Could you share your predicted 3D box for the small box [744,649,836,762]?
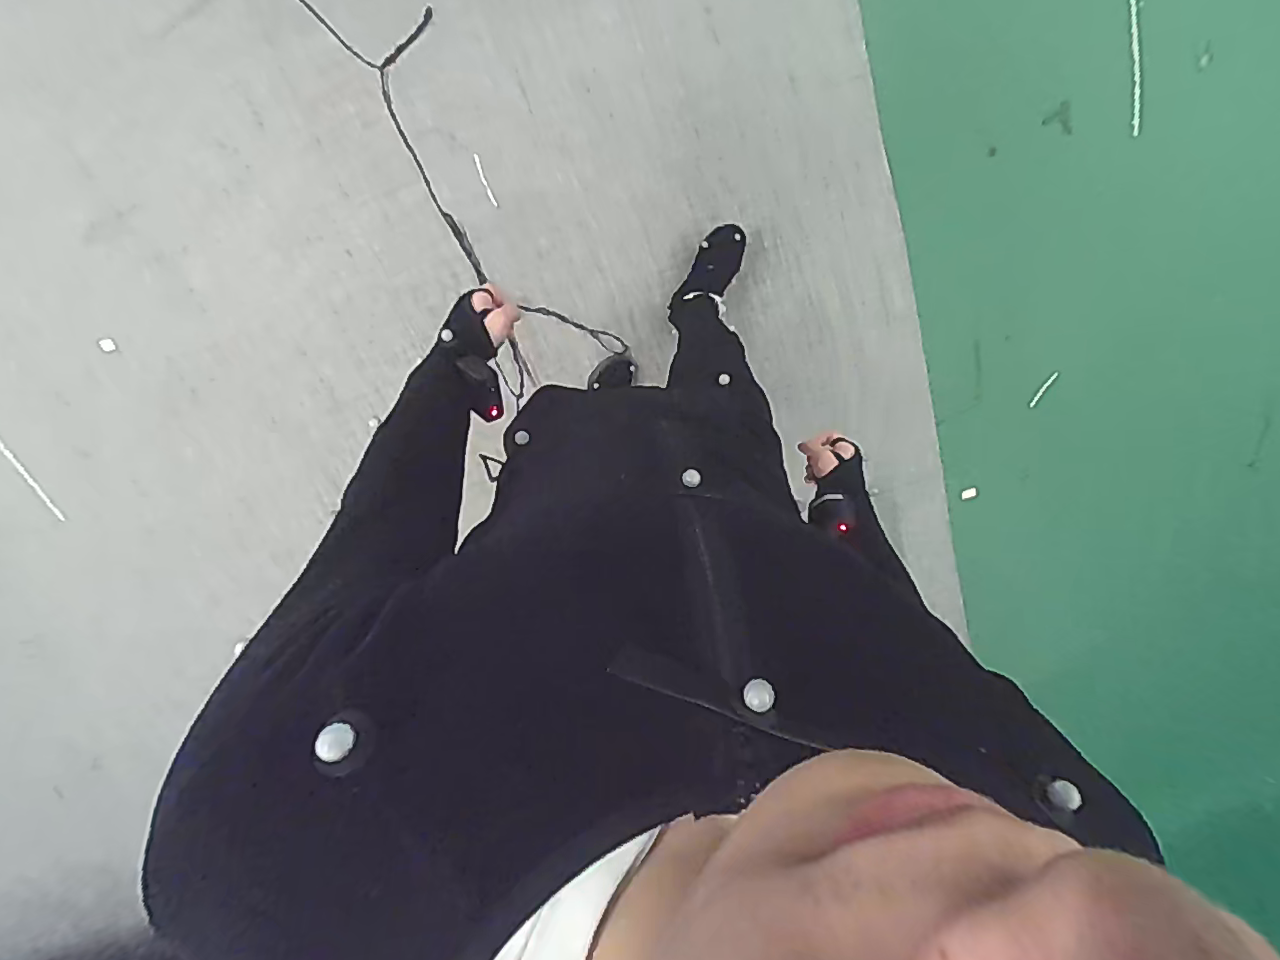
[{"bbox_3d":[0.367,0.553,1.338,0.168,0.176,0.179,-14,110,-1],"label":"small box"}]
